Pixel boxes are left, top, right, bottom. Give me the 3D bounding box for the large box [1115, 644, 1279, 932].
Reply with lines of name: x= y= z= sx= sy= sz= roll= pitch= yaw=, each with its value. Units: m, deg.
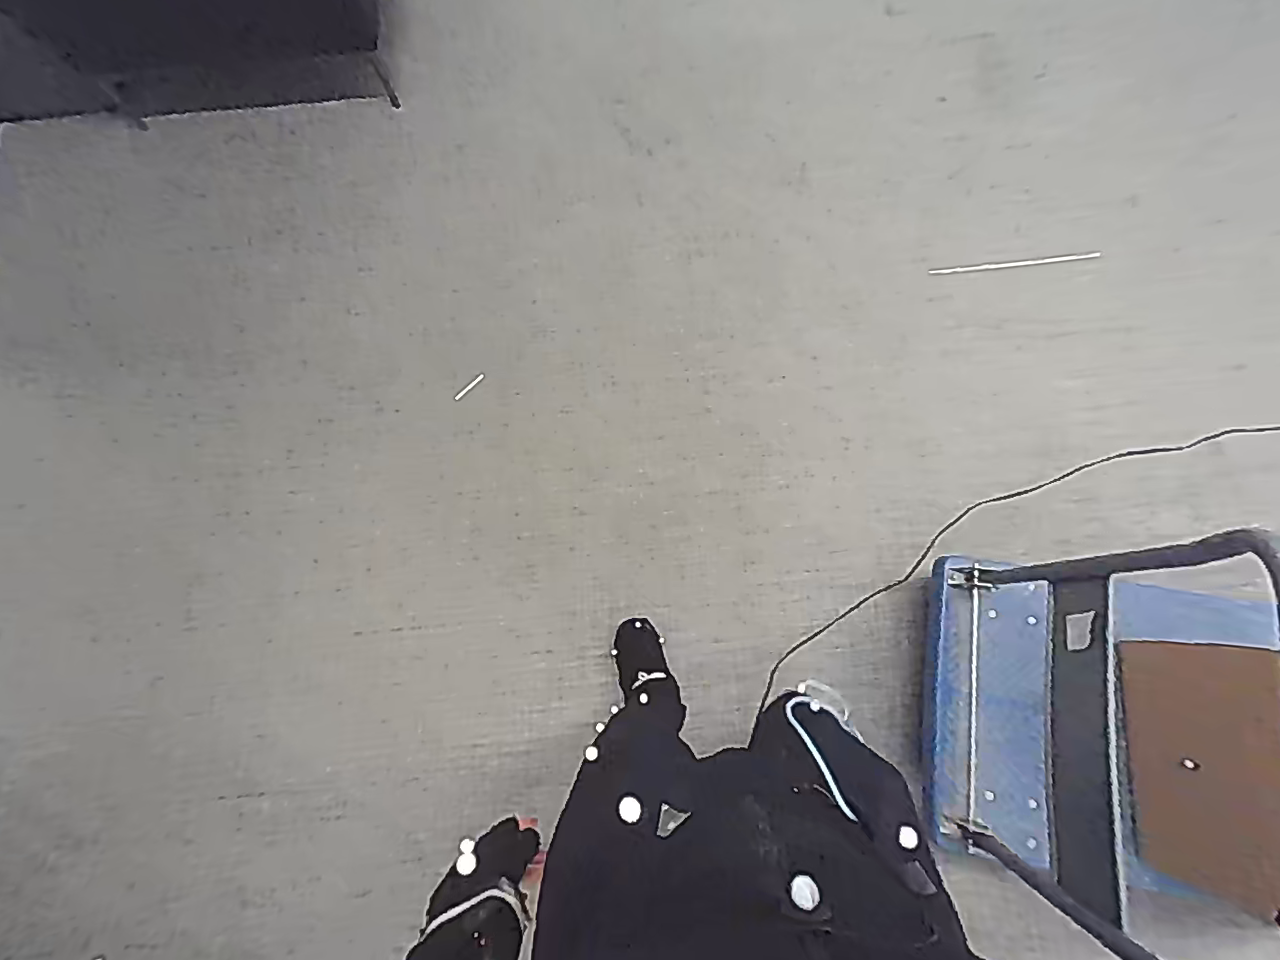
large box: x=1.105 y=0.504 z=0.916 sx=0.320 sy=0.320 sz=0.408 roll=5 pitch=75 yaw=2
